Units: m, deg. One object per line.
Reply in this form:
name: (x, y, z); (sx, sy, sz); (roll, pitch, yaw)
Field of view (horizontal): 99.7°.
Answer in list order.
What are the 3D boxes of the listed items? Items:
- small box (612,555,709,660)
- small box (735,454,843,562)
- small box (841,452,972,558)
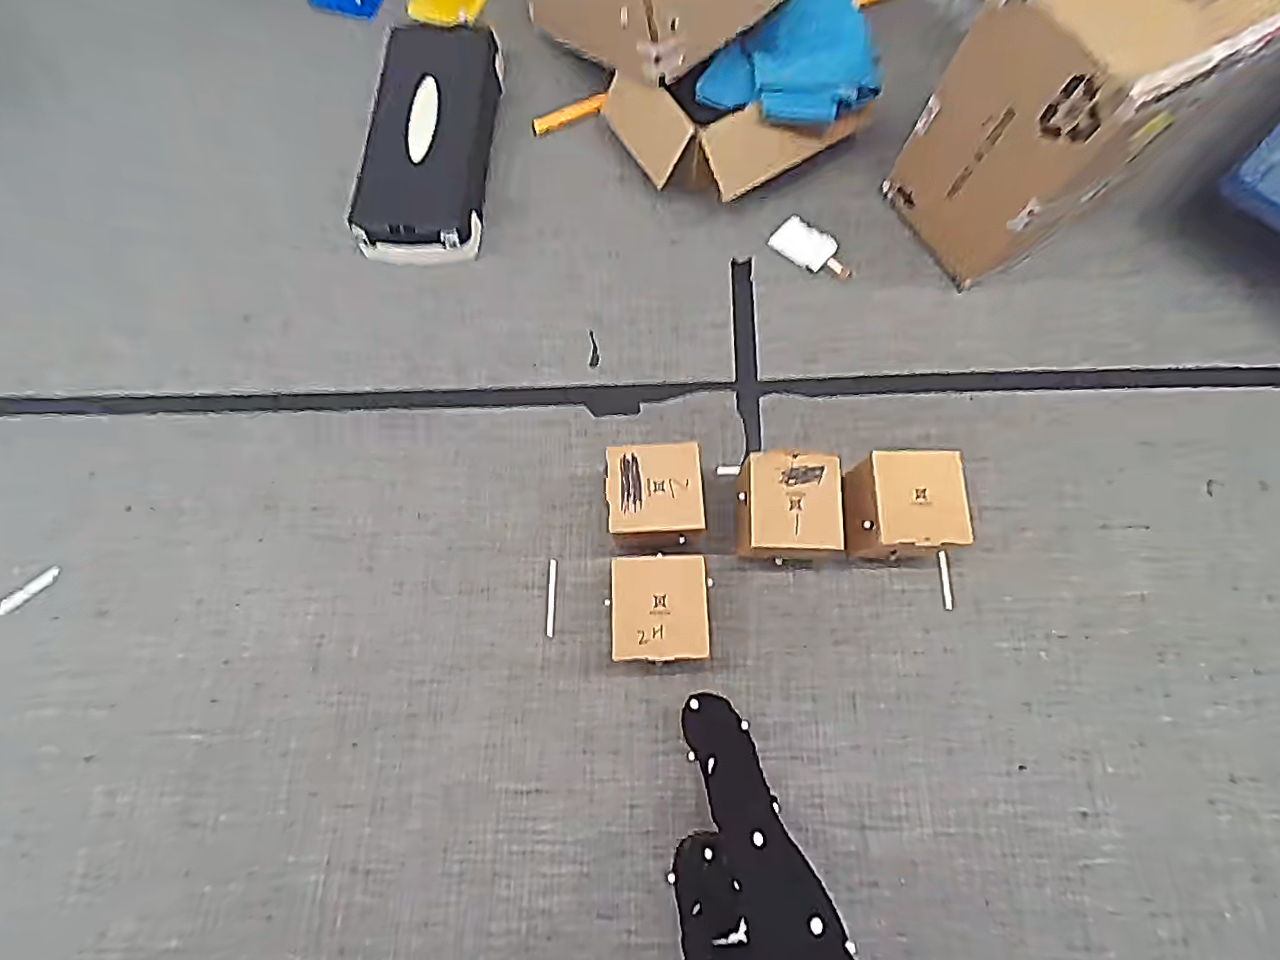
small box: (0.034, 0.240, 1.002); (0.168, 0.176, 0.179); (-2, 74, 1)
small box: (0.280, 0.060, 1.052); (0.168, 0.176, 0.179); (2, 75, 1)
small box: (0.507, 0.053, 1.055); (0.168, 0.176, 0.179); (0, 75, 0)
